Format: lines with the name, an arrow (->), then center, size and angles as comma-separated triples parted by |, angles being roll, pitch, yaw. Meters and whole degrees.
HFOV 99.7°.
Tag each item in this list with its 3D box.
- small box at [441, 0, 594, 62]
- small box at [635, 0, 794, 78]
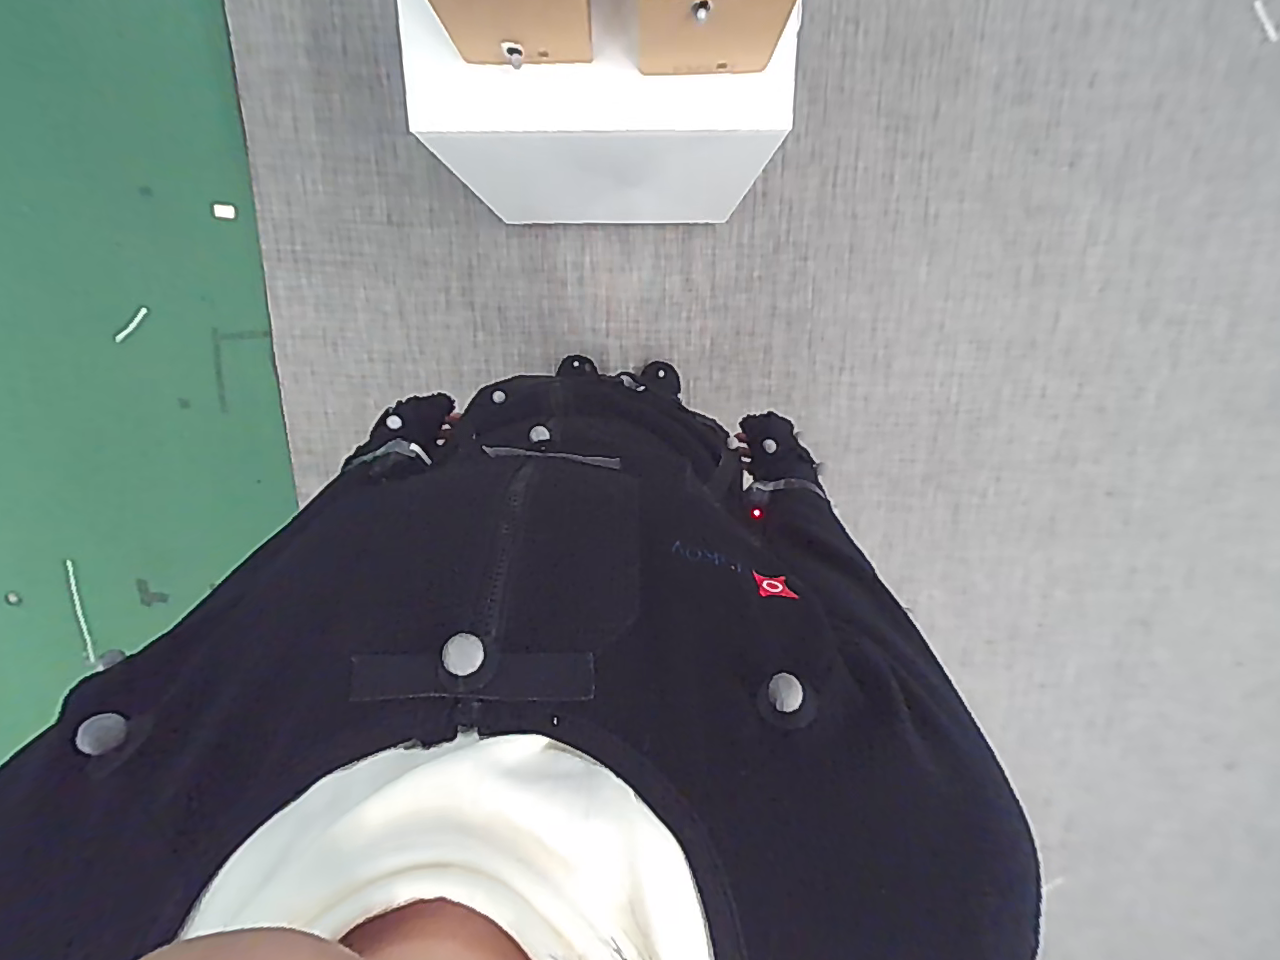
small box -> -0.142, -0.601, 0.590 | 0.168, 0.176, 0.179 | -2, 104, 1
small box -> 0.078, -0.594, 0.606 | 0.168, 0.176, 0.179 | 0, 102, 0
